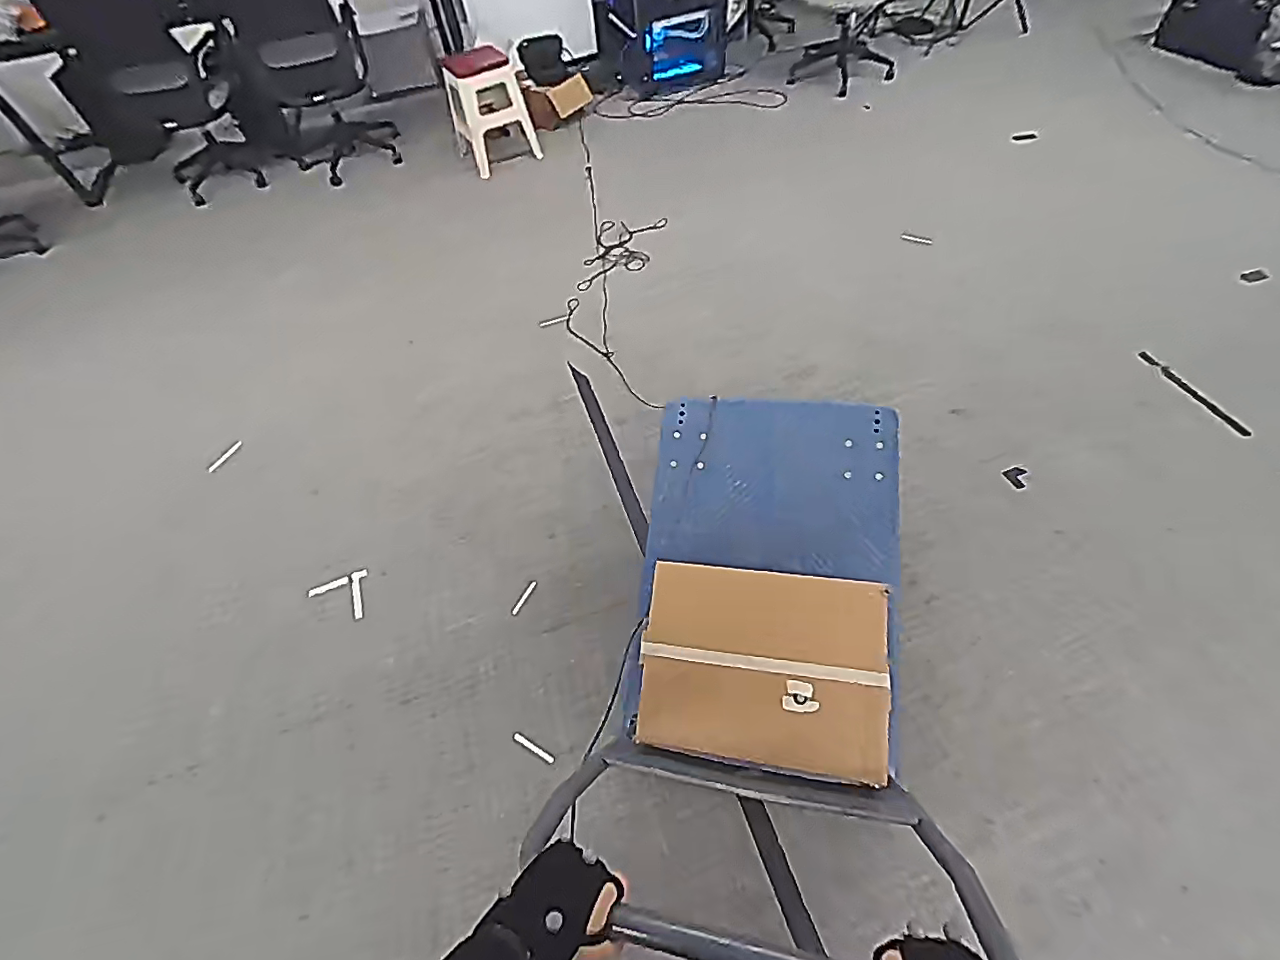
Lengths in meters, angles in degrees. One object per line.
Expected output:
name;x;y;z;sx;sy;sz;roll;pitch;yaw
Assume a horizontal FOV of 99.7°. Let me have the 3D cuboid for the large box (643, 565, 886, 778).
large box;0.240;0.364;1.079;0.408;0.320;0.320;4;74;13
